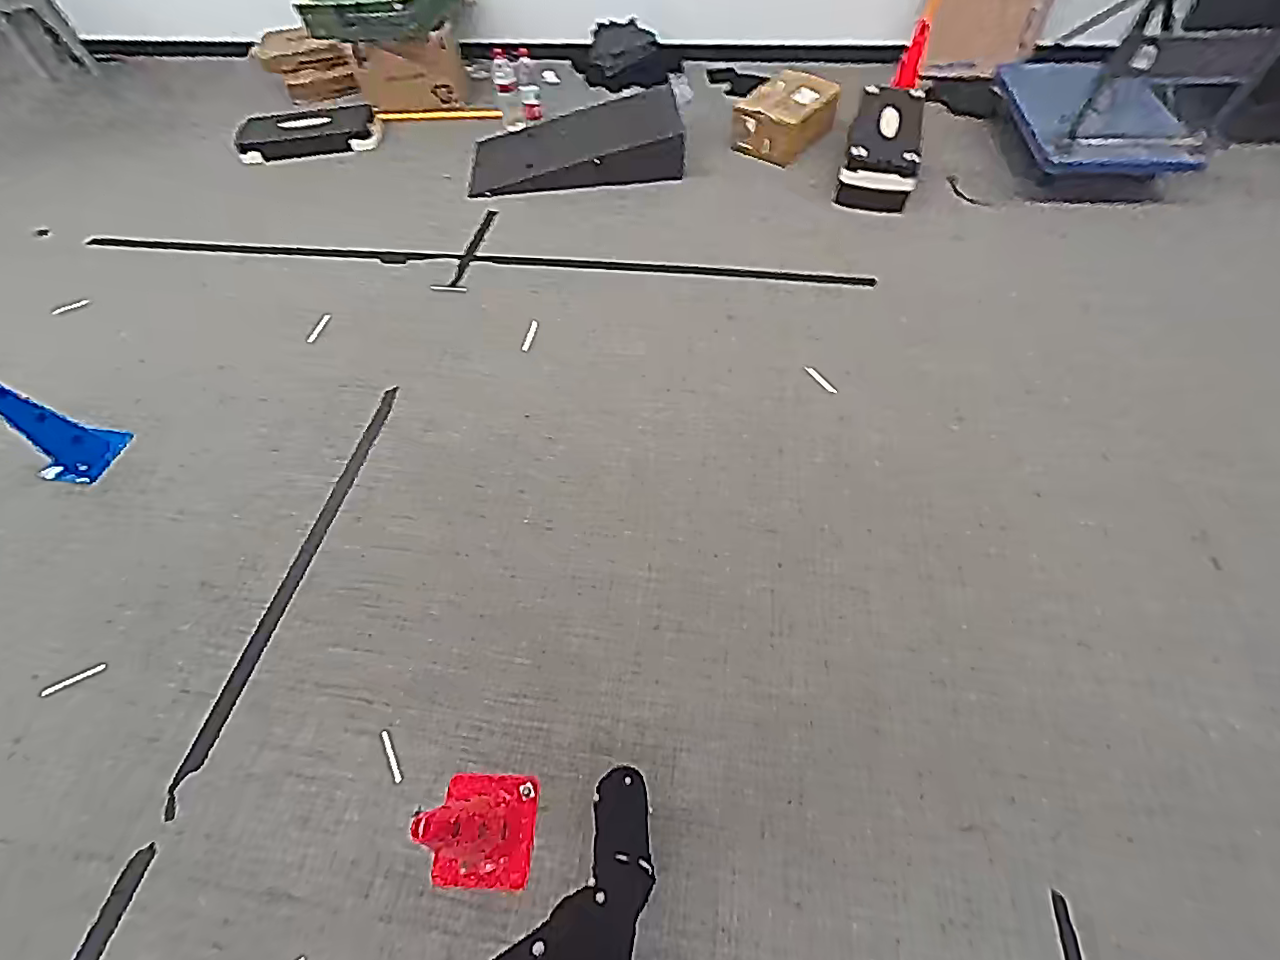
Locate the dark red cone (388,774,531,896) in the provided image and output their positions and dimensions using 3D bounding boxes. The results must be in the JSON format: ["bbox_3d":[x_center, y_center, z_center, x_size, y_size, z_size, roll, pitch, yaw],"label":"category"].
[{"bbox_3d":[-0.335,0.617,0.950,0.201,0.394,0.202,-1,57,4],"label":"dark red cone"}]

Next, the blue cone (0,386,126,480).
[{"bbox_3d":[-1.773,-0.173,1.587,0.192,0.380,0.193,7,57,9],"label":"blue cone"}]
